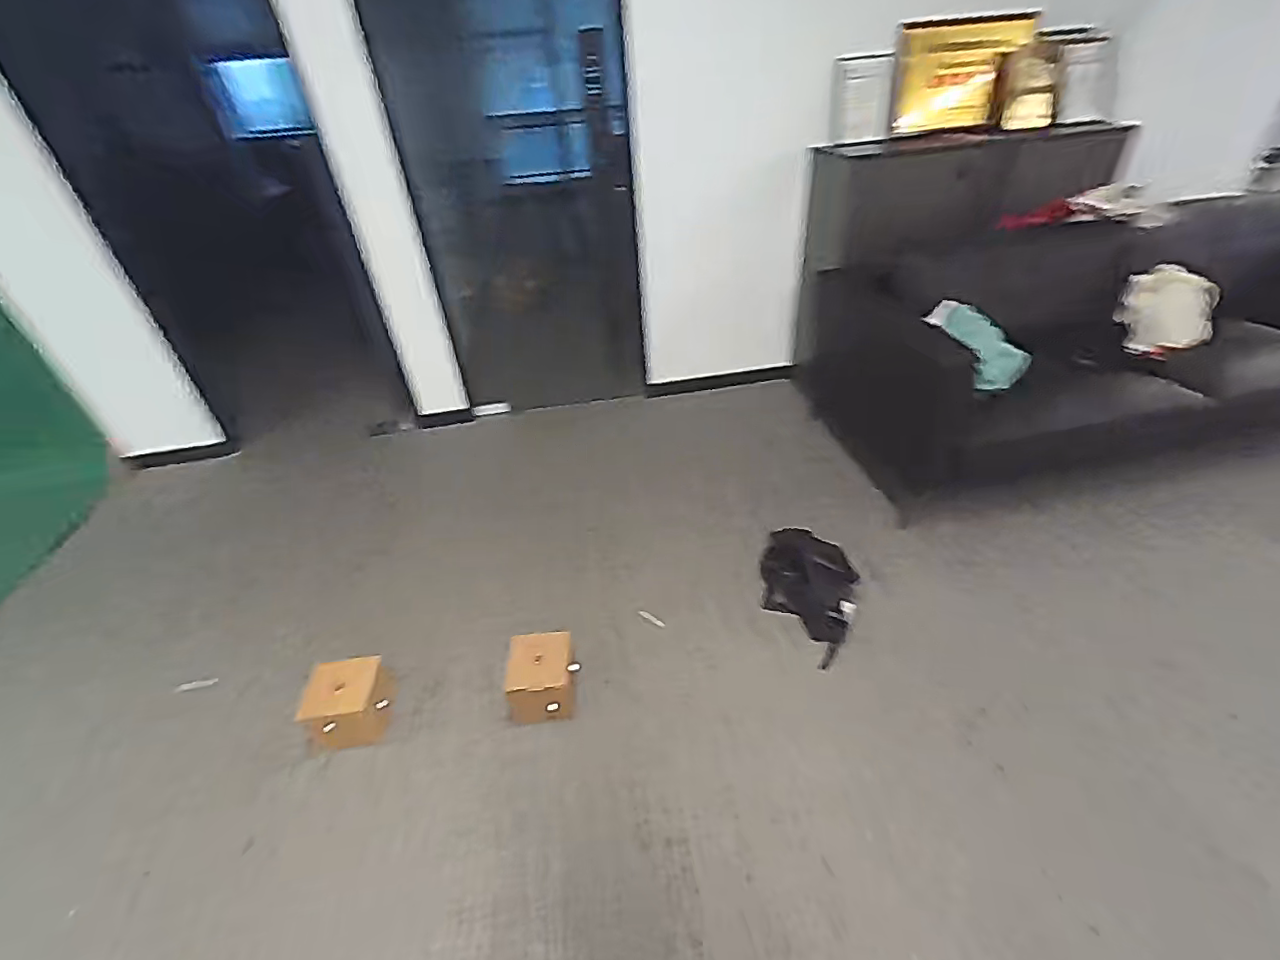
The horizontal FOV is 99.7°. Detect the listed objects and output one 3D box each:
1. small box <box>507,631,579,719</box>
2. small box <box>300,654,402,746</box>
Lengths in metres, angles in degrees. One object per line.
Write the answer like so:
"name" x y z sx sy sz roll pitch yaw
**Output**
"small box" -0.262 0.548 1.508 0.168 0.176 0.179 -3 35 -1
"small box" -0.781 0.604 1.485 0.179 0.176 0.168 -7 37 -3
